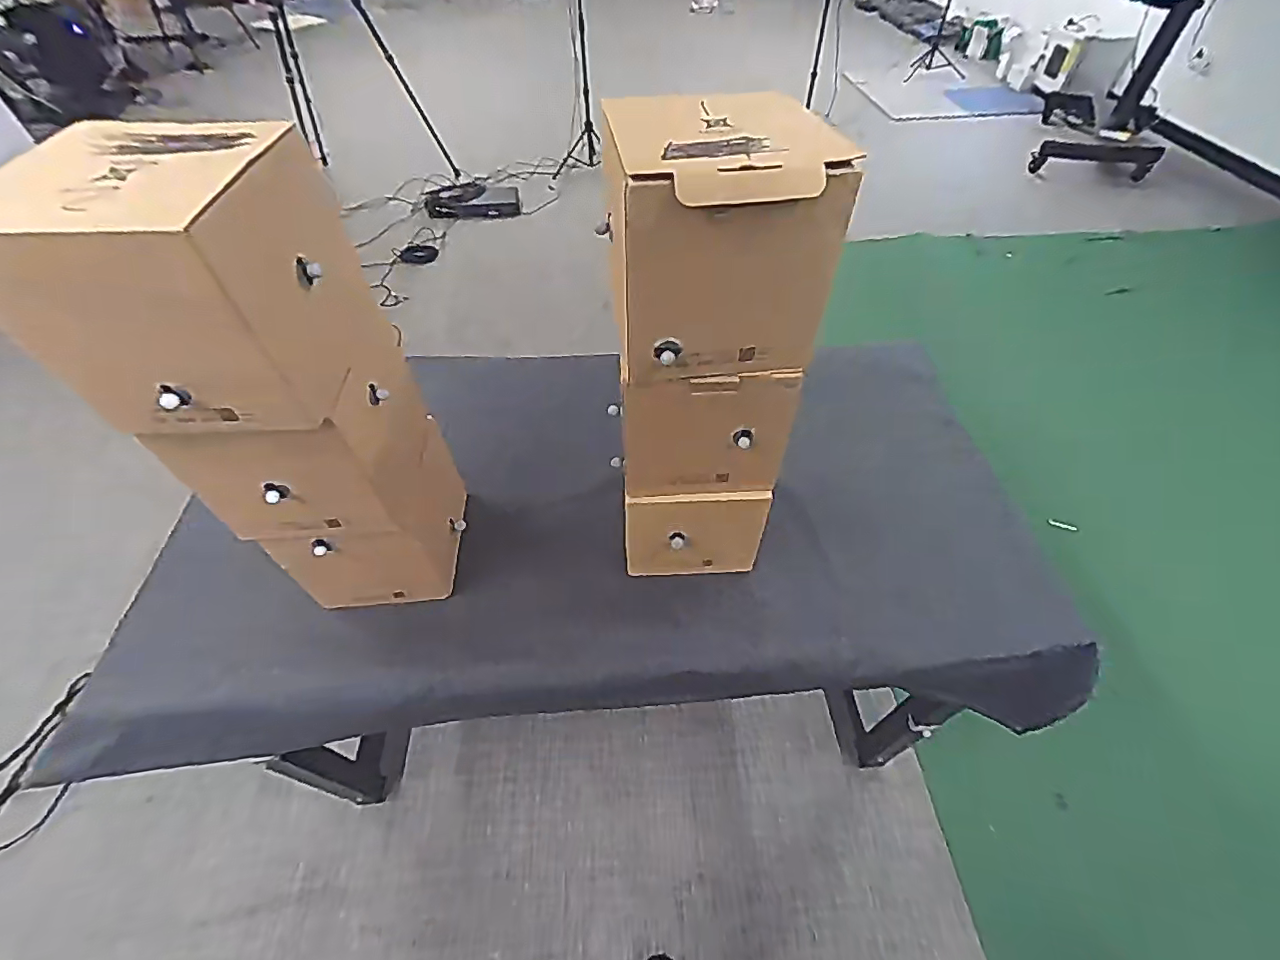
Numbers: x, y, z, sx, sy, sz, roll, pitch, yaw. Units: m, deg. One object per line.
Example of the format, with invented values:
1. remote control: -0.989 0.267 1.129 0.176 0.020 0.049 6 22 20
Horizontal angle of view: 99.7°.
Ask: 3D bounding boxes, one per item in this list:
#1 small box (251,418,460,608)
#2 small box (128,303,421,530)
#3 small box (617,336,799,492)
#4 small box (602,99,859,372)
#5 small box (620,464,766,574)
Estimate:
1. small box: -0.337 0.042 0.688 0.168 0.176 0.179 -4 50 -3
2. small box: -0.342 -0.059 0.557 0.168 0.176 0.179 -3 50 -3
3. small box: 0.059 -0.098 0.596 0.168 0.176 0.179 -2 48 -3
4. small box: 0.059 -0.208 0.473 0.168 0.176 0.179 -6 49 -6
5. small box: 0.059 0.015 0.714 0.168 0.176 0.179 -2 50 -1
